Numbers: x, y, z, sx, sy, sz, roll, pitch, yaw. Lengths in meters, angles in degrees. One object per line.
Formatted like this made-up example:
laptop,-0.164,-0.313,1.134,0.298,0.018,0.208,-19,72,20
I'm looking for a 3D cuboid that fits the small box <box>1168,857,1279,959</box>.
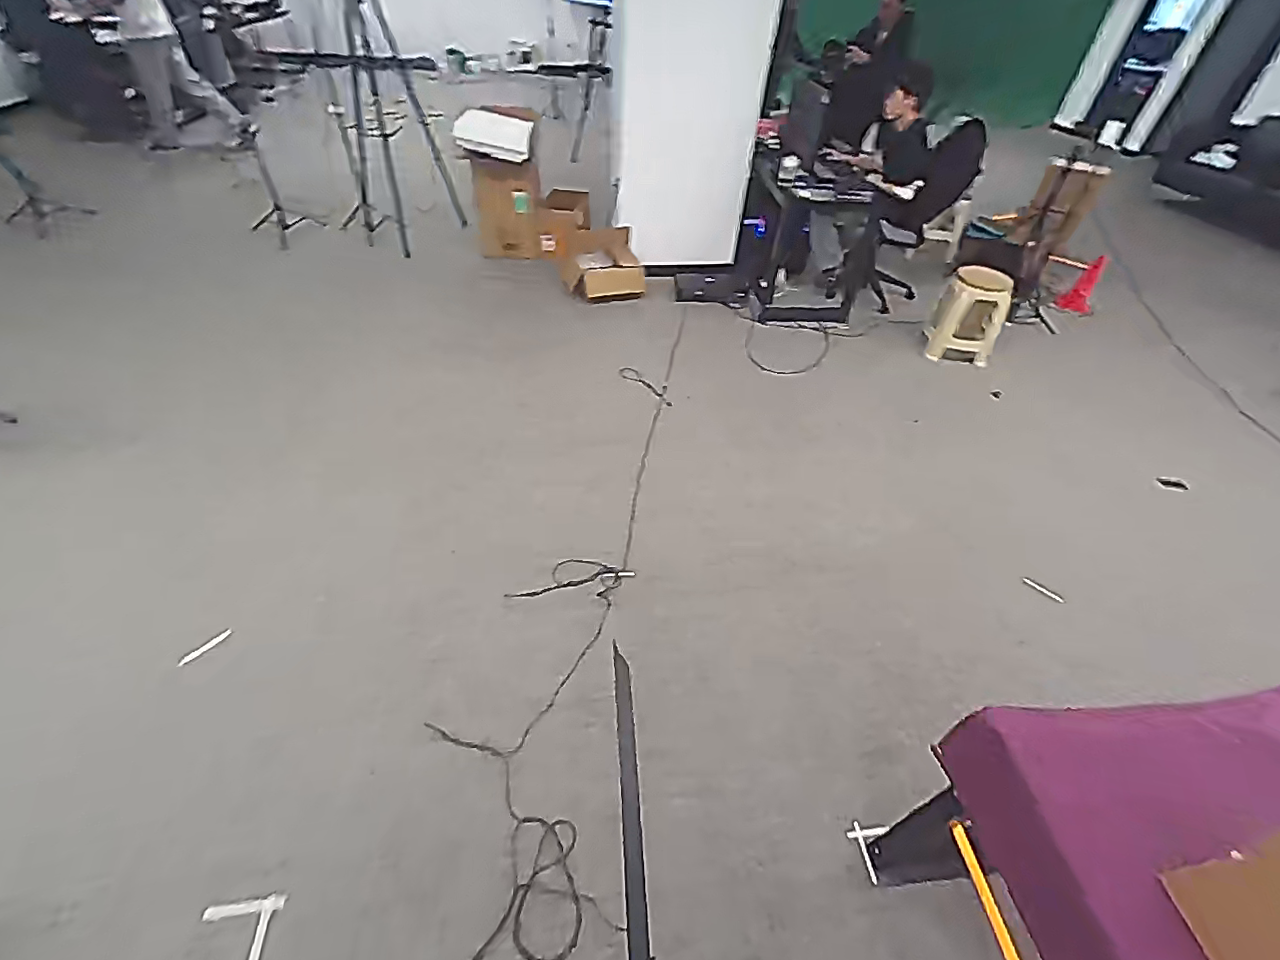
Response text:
small box,0.829,0.576,0.656,0.168,0.176,0.179,1,45,-4
